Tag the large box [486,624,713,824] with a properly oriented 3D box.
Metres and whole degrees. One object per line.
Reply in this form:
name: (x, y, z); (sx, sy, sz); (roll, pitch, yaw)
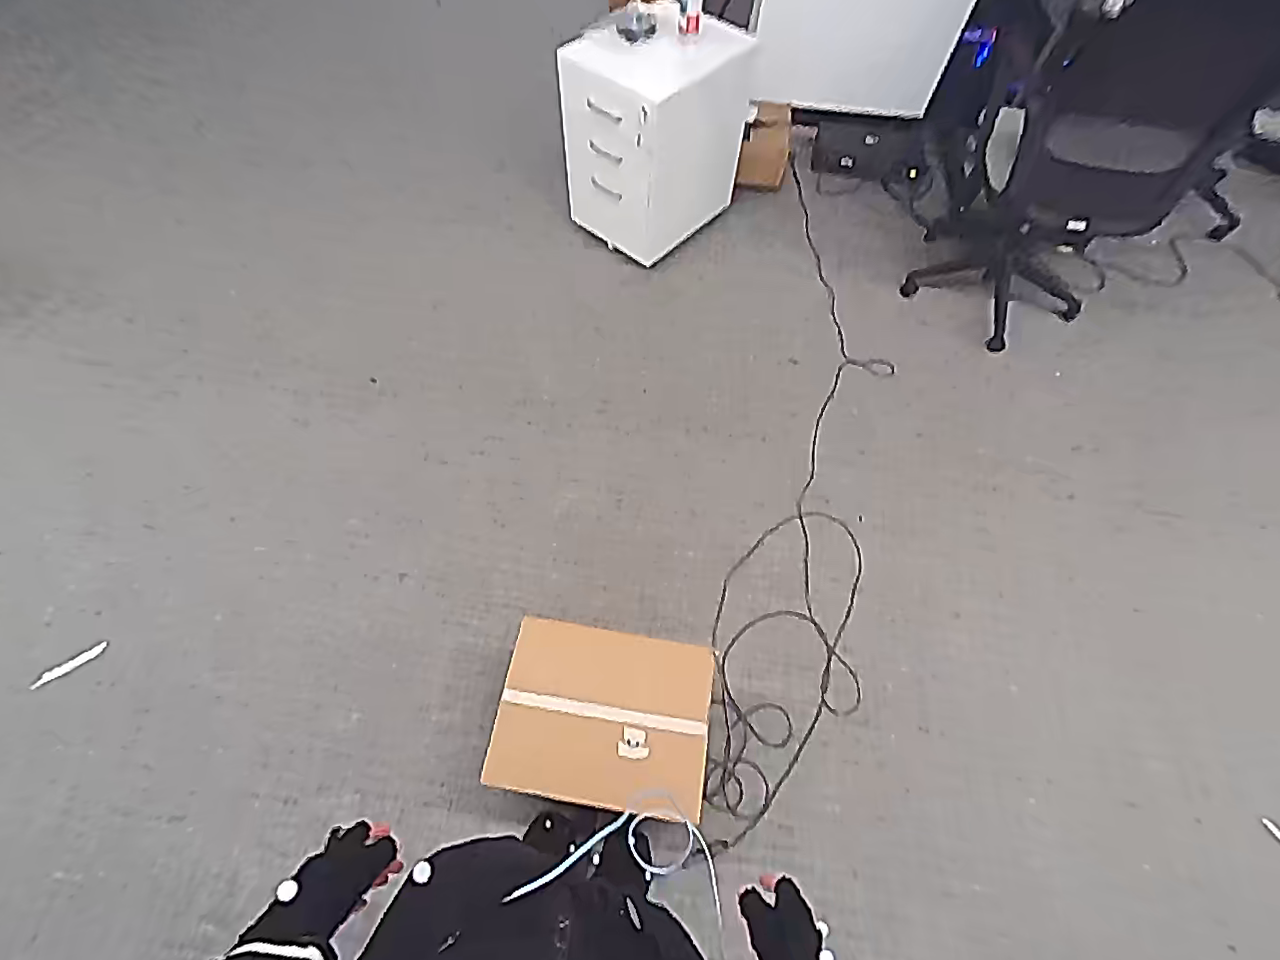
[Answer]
large box: (-0.073, 0.534, 1.179); (0.408, 0.320, 0.320); (9, 61, 3)
